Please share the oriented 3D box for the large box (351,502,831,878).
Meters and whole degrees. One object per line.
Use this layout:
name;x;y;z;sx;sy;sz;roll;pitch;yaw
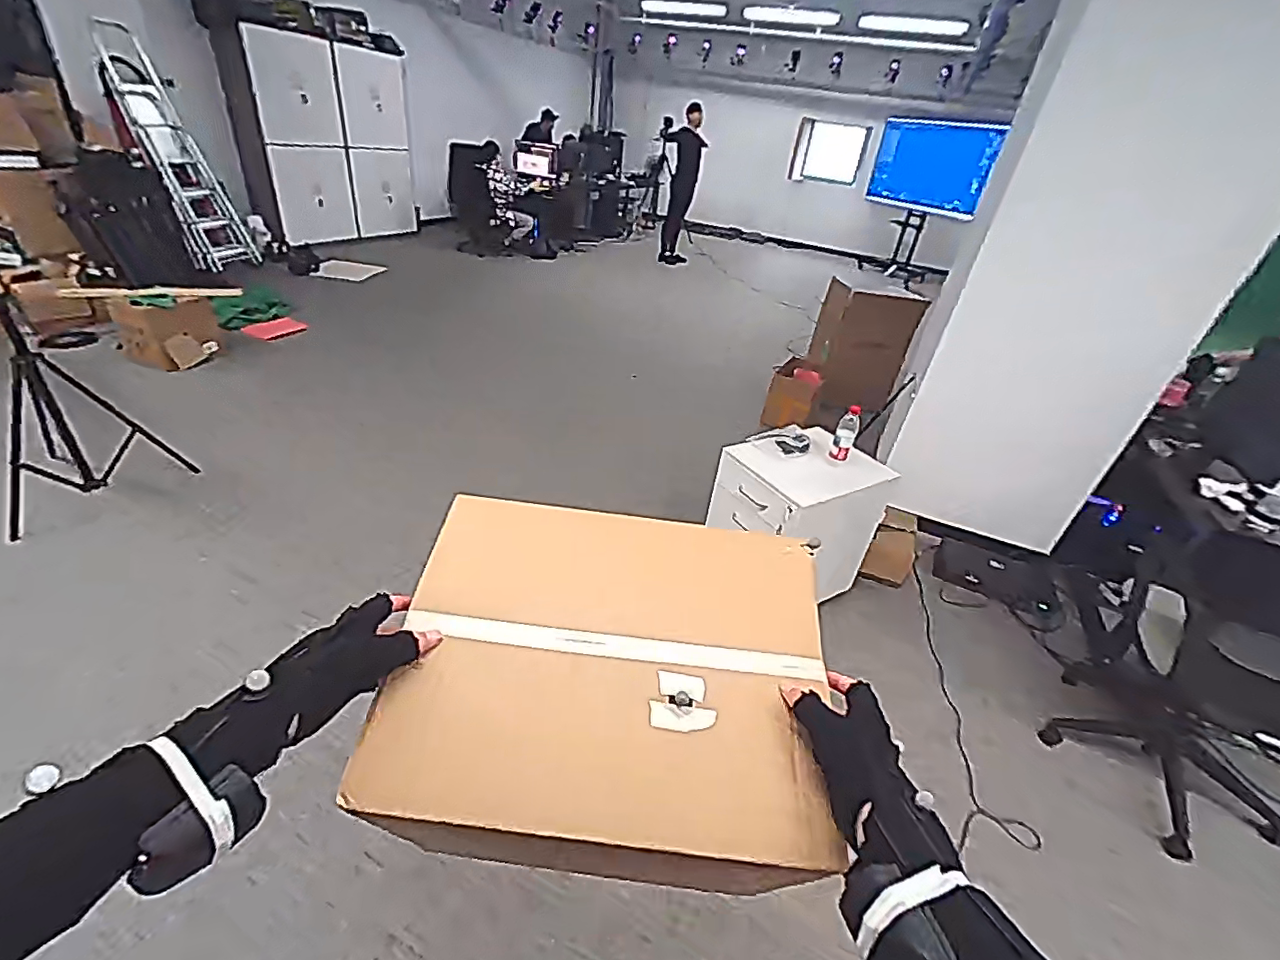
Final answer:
large box;-0.042;0.258;0.647;0.408;0.320;0.320;7;50;-1
